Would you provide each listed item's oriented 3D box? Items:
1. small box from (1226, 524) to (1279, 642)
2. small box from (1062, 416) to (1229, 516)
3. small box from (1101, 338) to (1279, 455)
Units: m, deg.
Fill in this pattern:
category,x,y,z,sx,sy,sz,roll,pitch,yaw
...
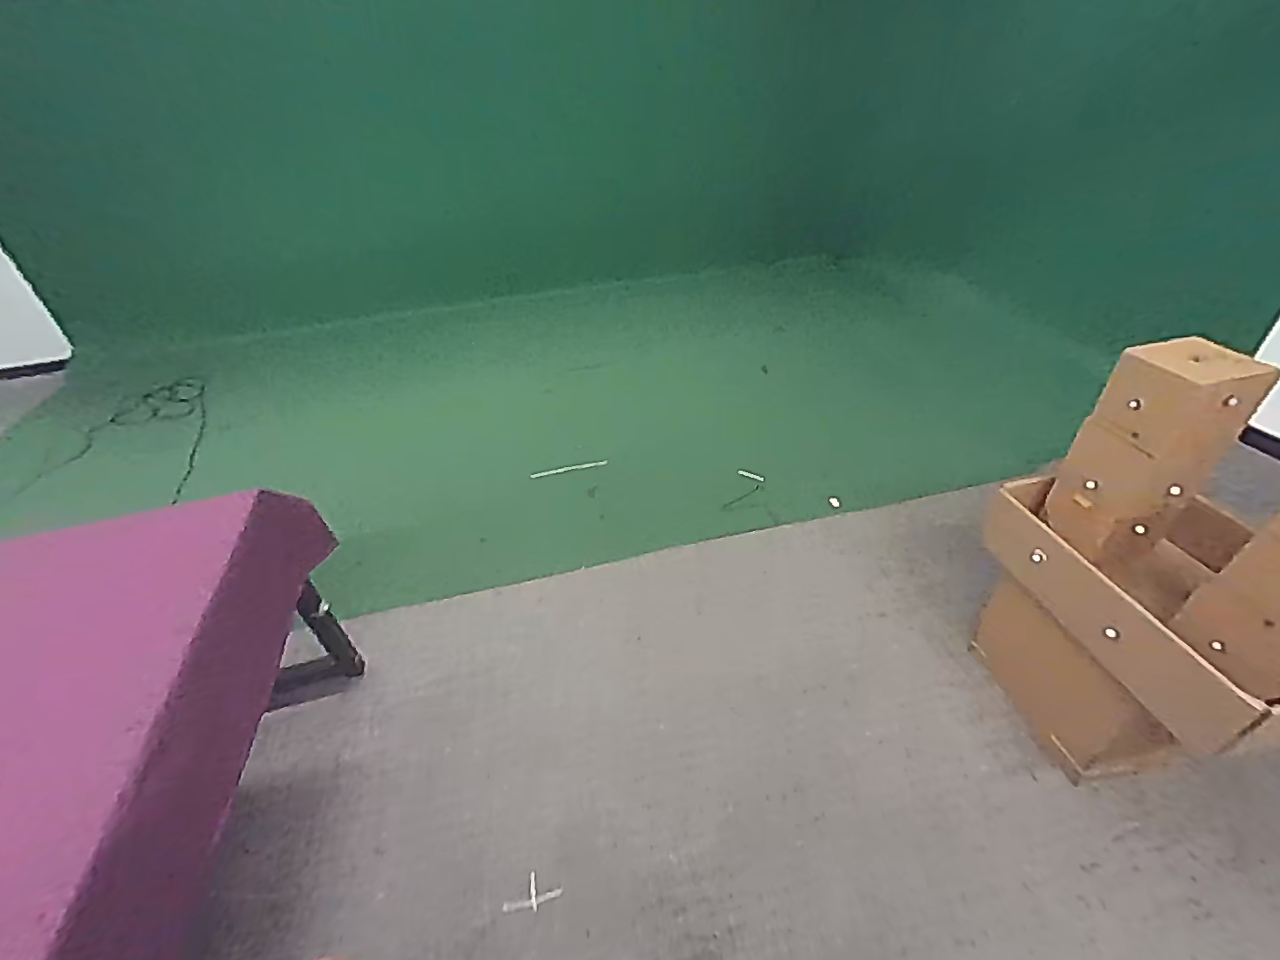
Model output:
category,x,y,z,sx,sy,sz,roll,pitch,yaw
small box,1.155,0.180,0.900,0.179,0.176,0.168,-6,39,-2
small box,1.094,-0.037,1.190,0.168,0.176,0.179,-11,38,-7
small box,1.084,-0.166,1.087,0.179,0.176,0.168,-10,38,-6
